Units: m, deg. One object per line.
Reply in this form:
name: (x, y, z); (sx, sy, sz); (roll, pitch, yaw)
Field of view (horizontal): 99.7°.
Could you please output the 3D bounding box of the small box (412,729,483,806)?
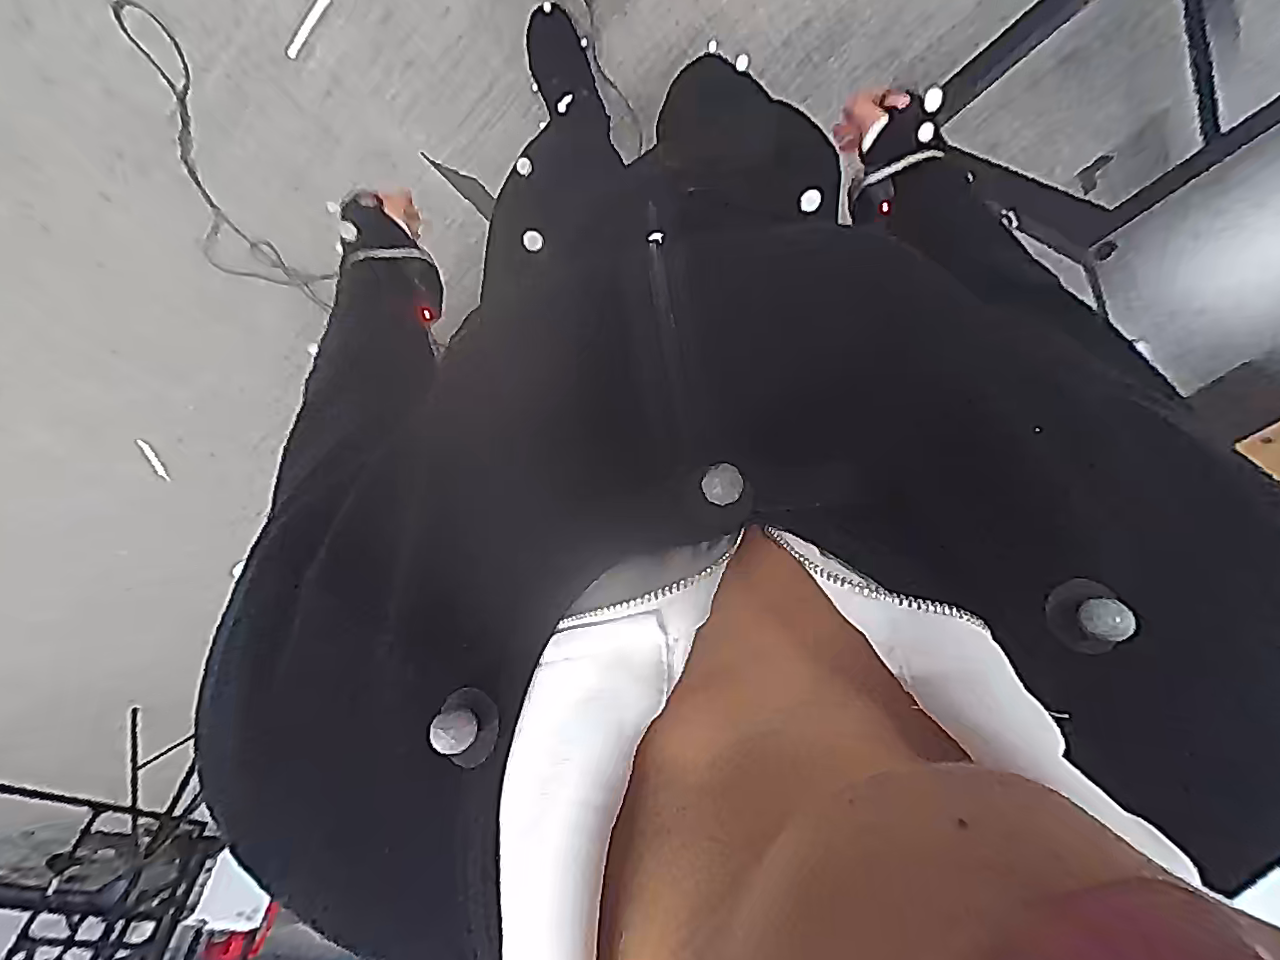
small box: (-0.664, 1.004, 1.888); (0.168, 0.176, 0.179); (34, 116, -31)
